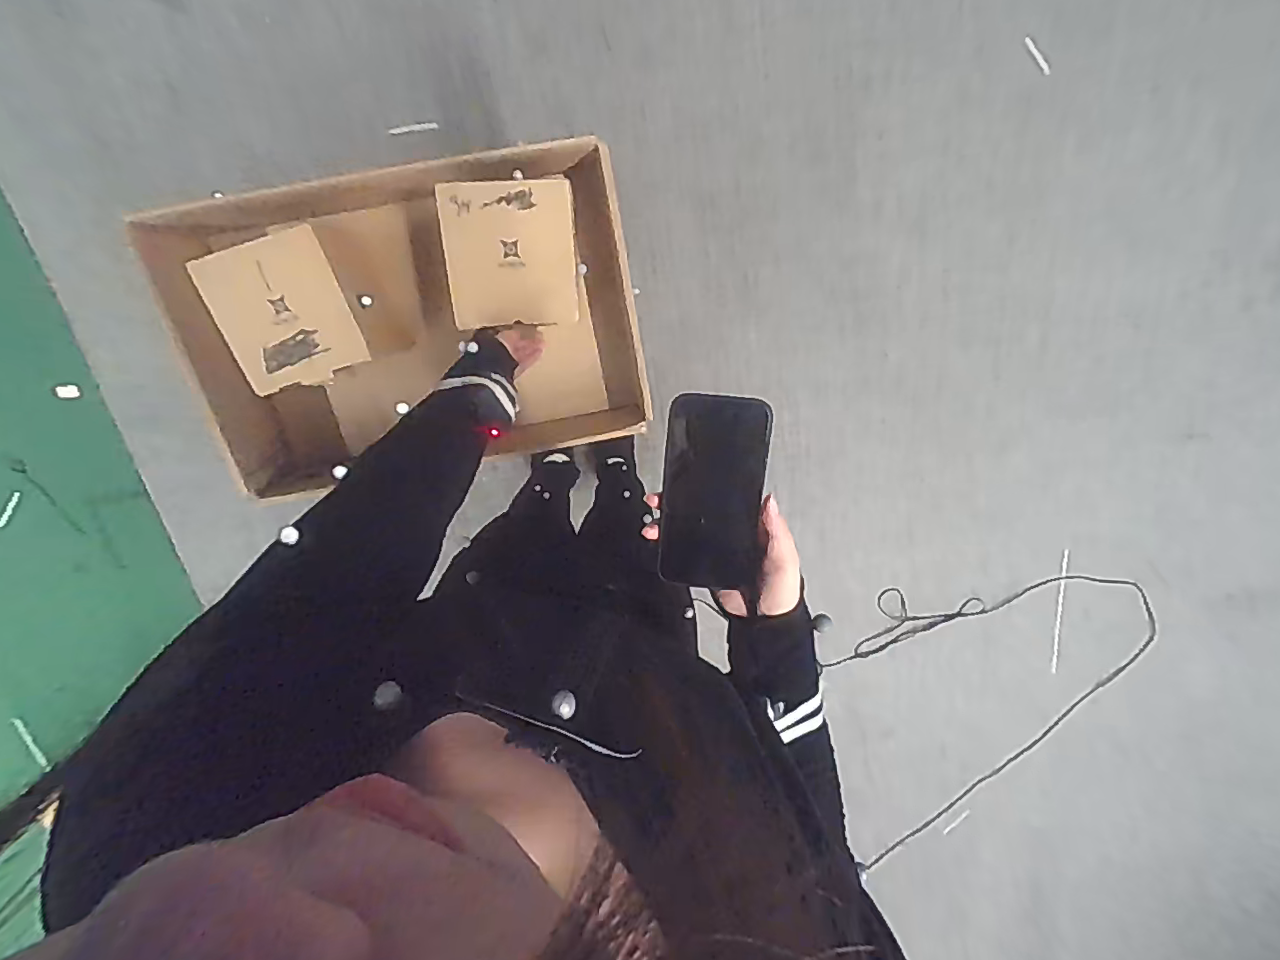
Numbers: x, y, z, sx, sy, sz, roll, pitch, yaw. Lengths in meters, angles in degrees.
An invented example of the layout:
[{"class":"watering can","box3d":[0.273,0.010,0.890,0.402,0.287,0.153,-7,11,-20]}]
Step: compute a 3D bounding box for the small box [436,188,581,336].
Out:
[{"class":"small box","box3d":[-0.173,-0.305,0.768,0.168,0.176,0.179,-3,110,-4]}]
